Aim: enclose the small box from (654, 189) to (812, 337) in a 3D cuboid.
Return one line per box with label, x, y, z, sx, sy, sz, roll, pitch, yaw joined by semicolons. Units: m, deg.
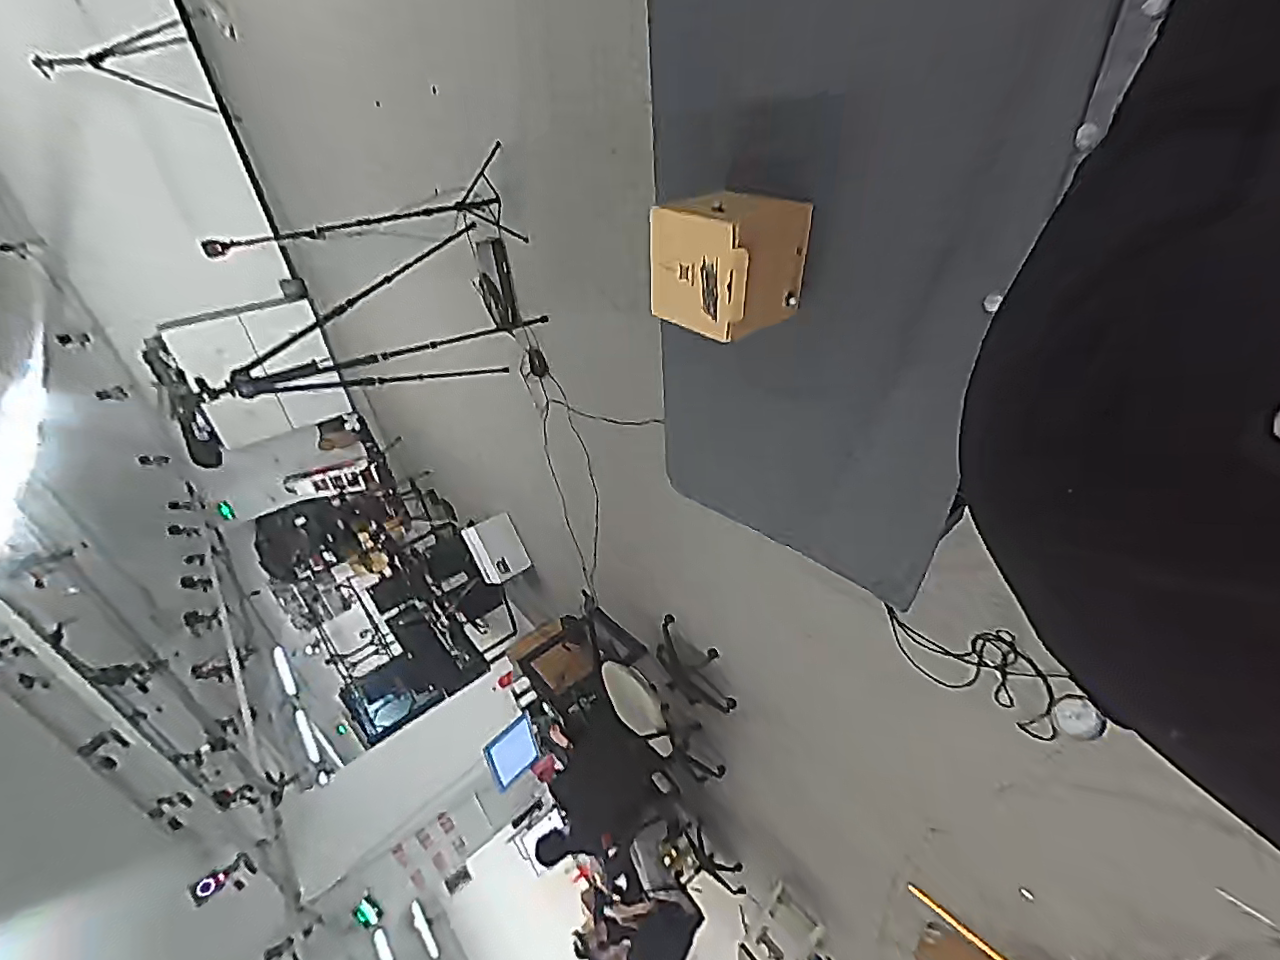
small box;0.142;-0.346;0.845;0.179;0.176;0.168;35;140;39
